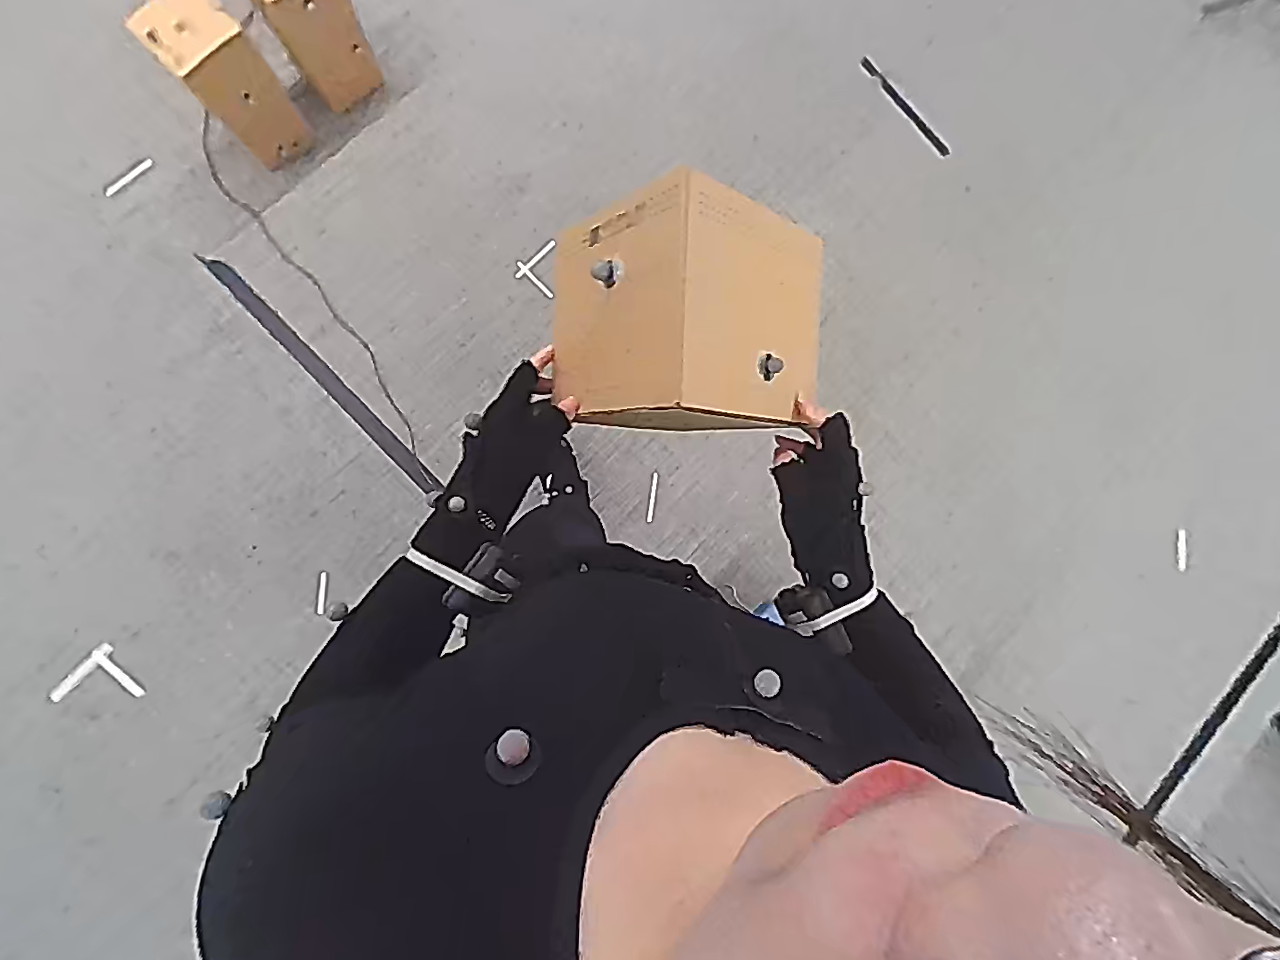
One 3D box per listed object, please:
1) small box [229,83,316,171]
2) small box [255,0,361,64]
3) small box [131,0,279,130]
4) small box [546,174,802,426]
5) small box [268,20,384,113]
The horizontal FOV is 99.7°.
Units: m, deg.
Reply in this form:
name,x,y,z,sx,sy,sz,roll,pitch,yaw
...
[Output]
name,x,y,z,sx,sy,sz,roll,pitch,yaw
small box,-0.995,-0.955,1.401,0.168,0.176,0.179,-44,92,-7
small box,-0.801,-1.144,1.272,0.179,0.176,0.168,-43,91,-10
small box,-0.976,-0.963,1.239,0.168,0.176,0.179,45,83,-1
small box,0.033,-0.139,0.486,0.179,0.168,0.176,0,91,-42
small box,-0.822,-1.133,1.436,0.179,0.176,0.168,-42,91,-9
